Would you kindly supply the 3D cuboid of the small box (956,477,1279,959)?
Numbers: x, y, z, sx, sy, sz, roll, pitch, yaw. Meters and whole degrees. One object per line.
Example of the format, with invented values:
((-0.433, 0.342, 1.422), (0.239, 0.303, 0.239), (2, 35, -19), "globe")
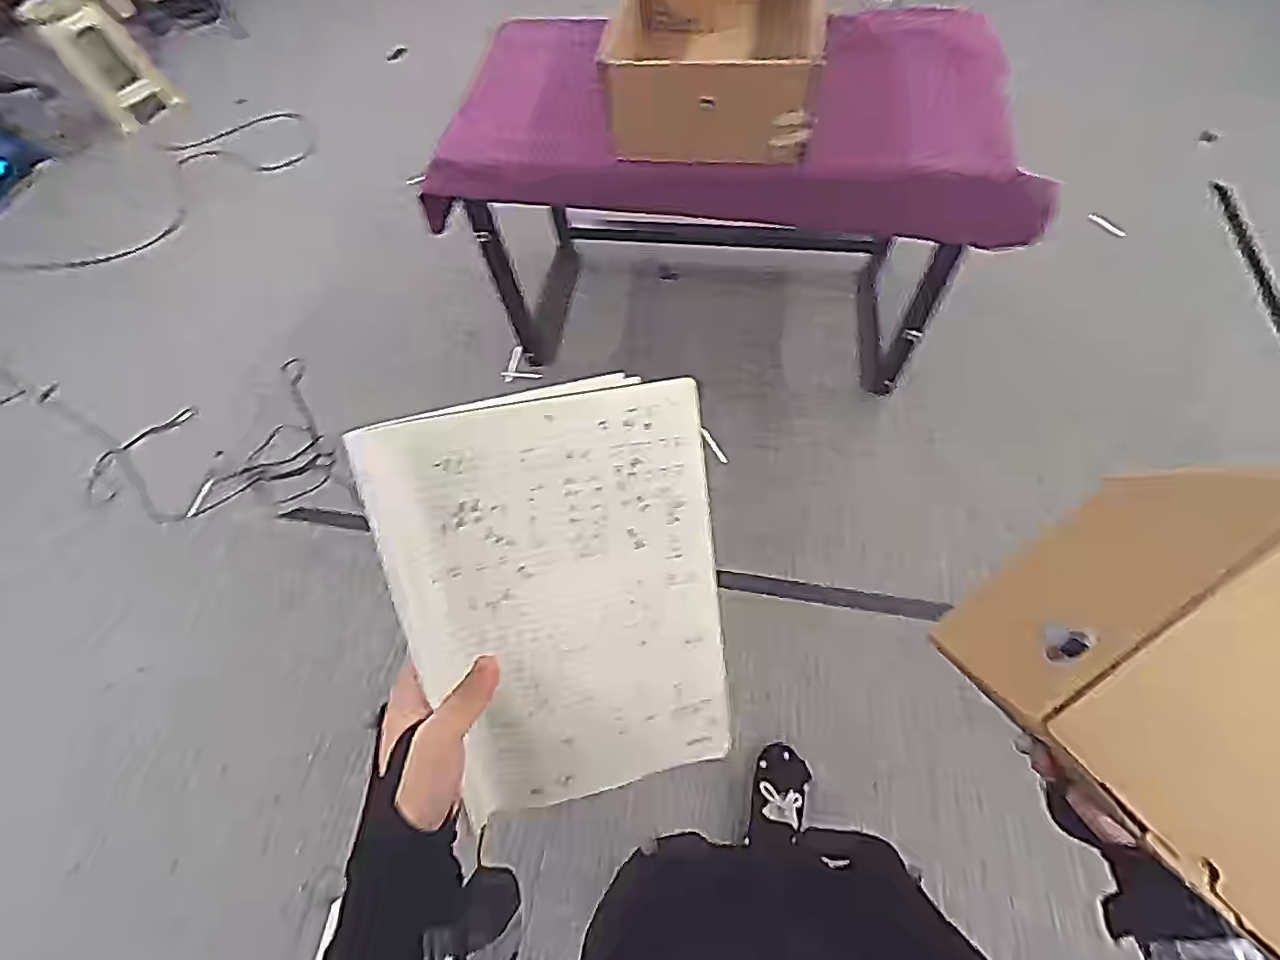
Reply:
((0.317, 0.109, 0.291), (0.179, 0.176, 0.168), (-45, 80, 10), "small box")
